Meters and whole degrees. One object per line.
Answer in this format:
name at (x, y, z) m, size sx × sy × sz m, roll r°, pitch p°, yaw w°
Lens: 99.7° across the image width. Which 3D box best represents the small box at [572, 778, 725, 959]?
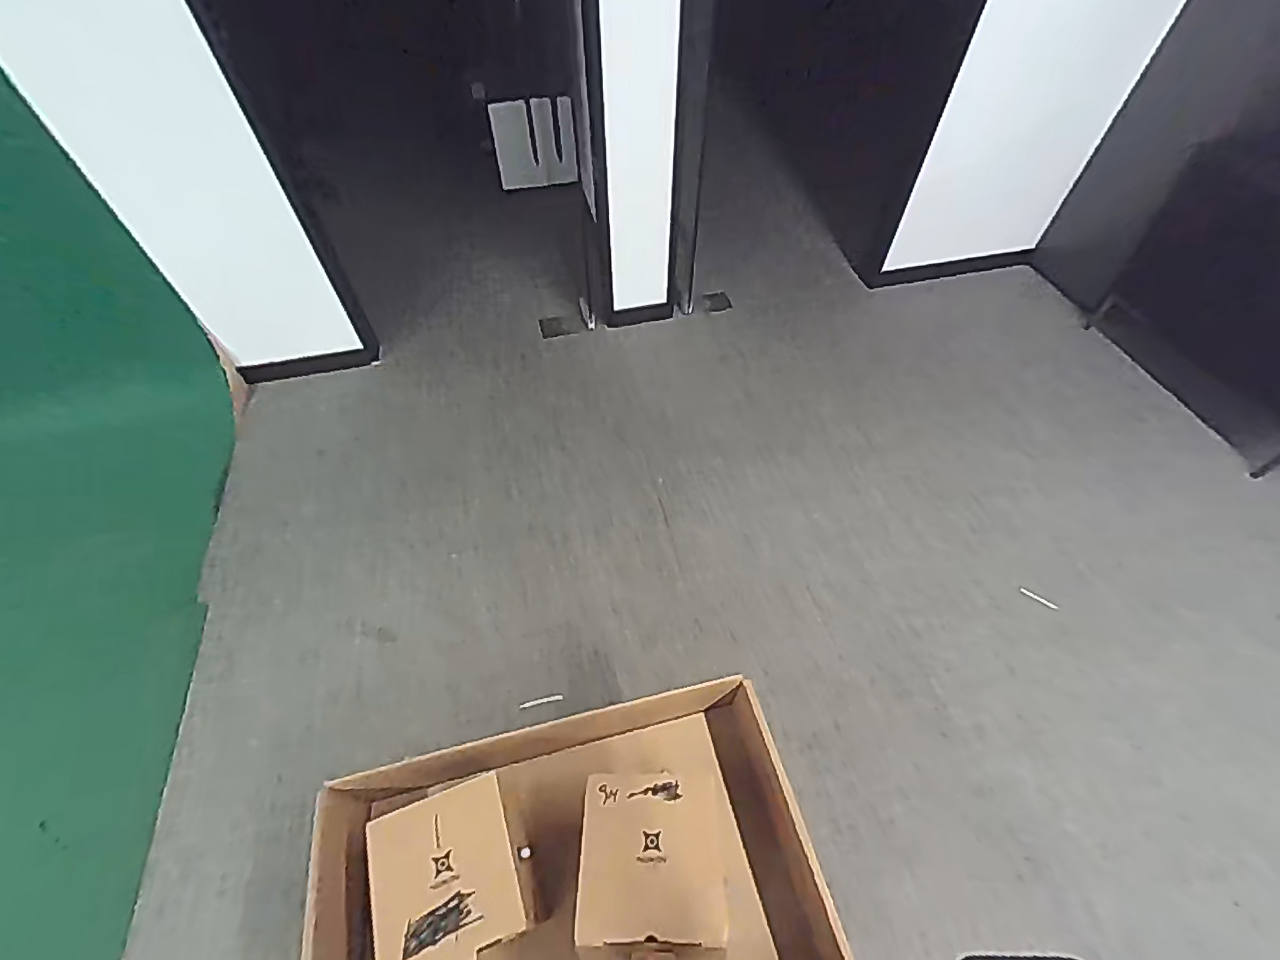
small box at (0.015, 0.501, 0.677) m, size 0.168 × 0.176 × 0.179 m, roll -1°, pitch 38°, yaw 2°
